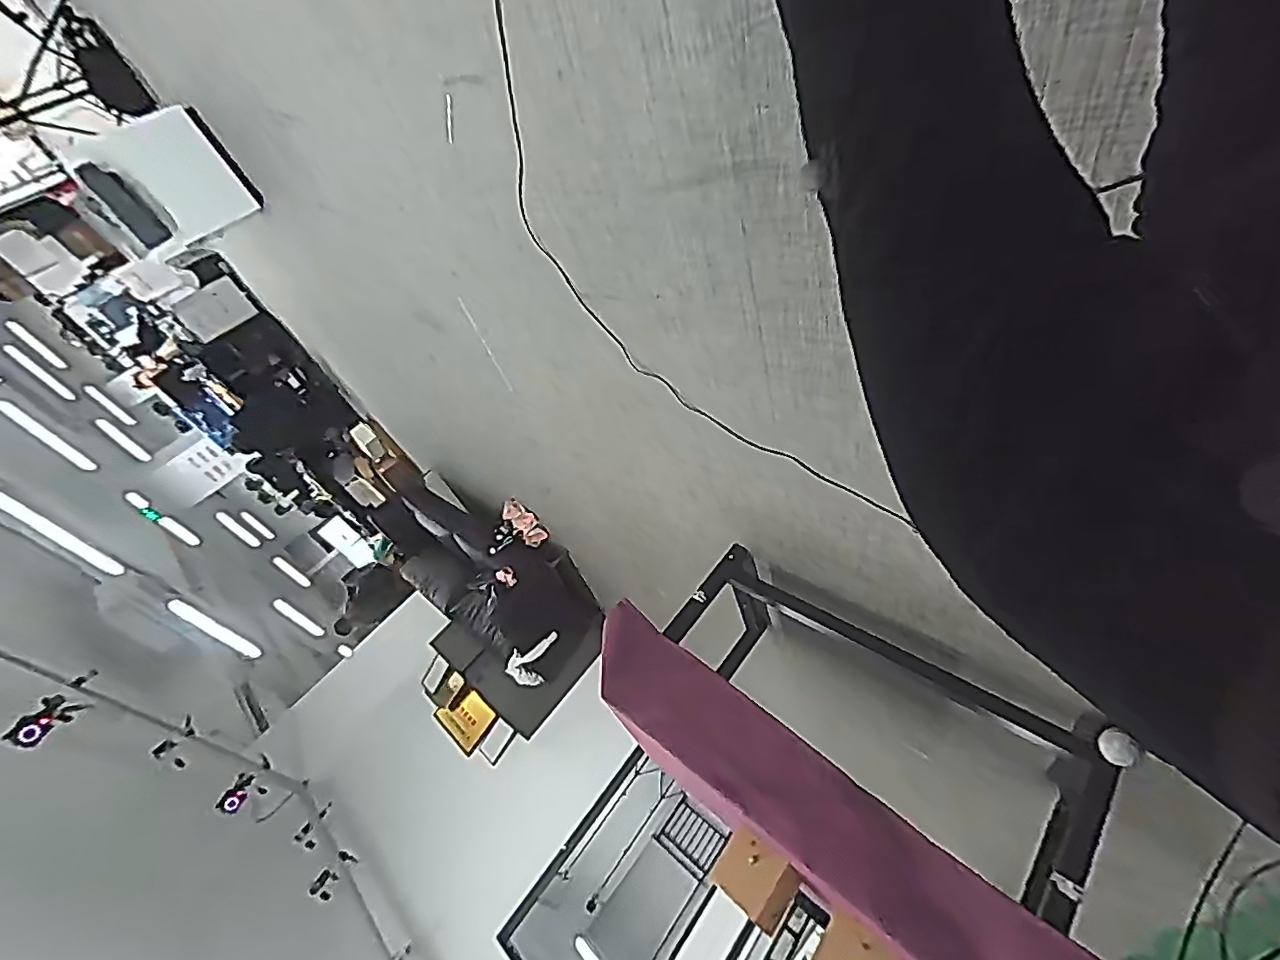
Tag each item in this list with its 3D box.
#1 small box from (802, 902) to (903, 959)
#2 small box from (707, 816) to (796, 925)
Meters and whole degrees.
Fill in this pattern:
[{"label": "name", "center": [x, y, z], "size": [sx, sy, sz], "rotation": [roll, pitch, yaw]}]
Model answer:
[{"label": "small box", "center": [0.537, 1.206, 1.361], "size": [0.179, 0.176, 0.168], "rotation": [22, 149, 41]}, {"label": "small box", "center": [0.328, 1.119, 1.557], "size": [0.168, 0.176, 0.179], "rotation": [18, 145, 45]}]
